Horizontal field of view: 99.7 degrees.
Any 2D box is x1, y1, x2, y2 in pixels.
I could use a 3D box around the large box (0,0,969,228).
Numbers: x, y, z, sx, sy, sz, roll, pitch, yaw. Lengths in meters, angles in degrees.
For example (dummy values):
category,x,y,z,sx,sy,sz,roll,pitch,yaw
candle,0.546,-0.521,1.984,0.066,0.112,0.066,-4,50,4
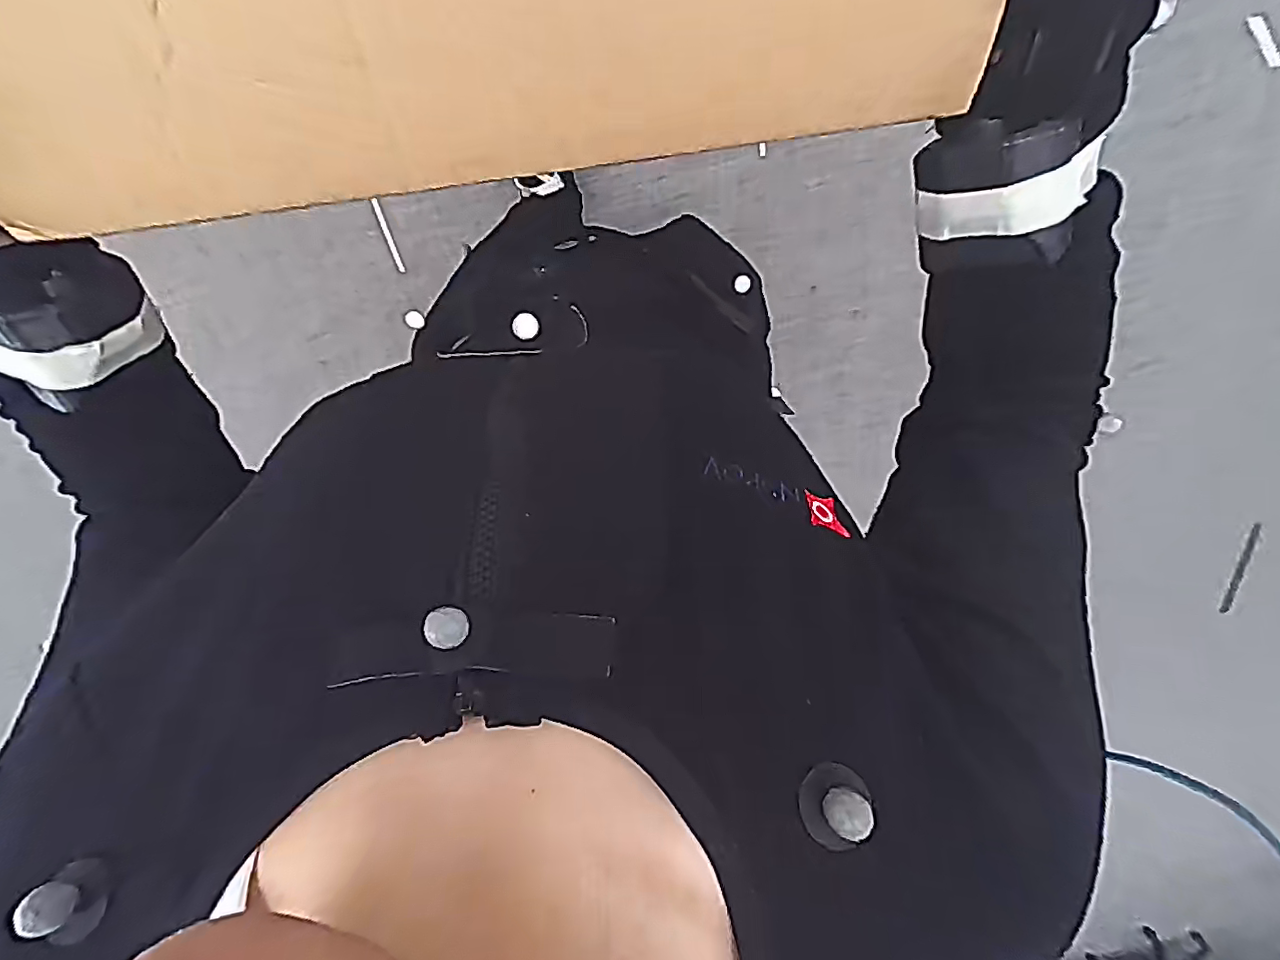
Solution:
category,x,y,z,sx,sy,sz,roll,pitch,yaw
large box,-0.091,-0.350,0.214,0.408,0.320,0.320,-9,140,-1
